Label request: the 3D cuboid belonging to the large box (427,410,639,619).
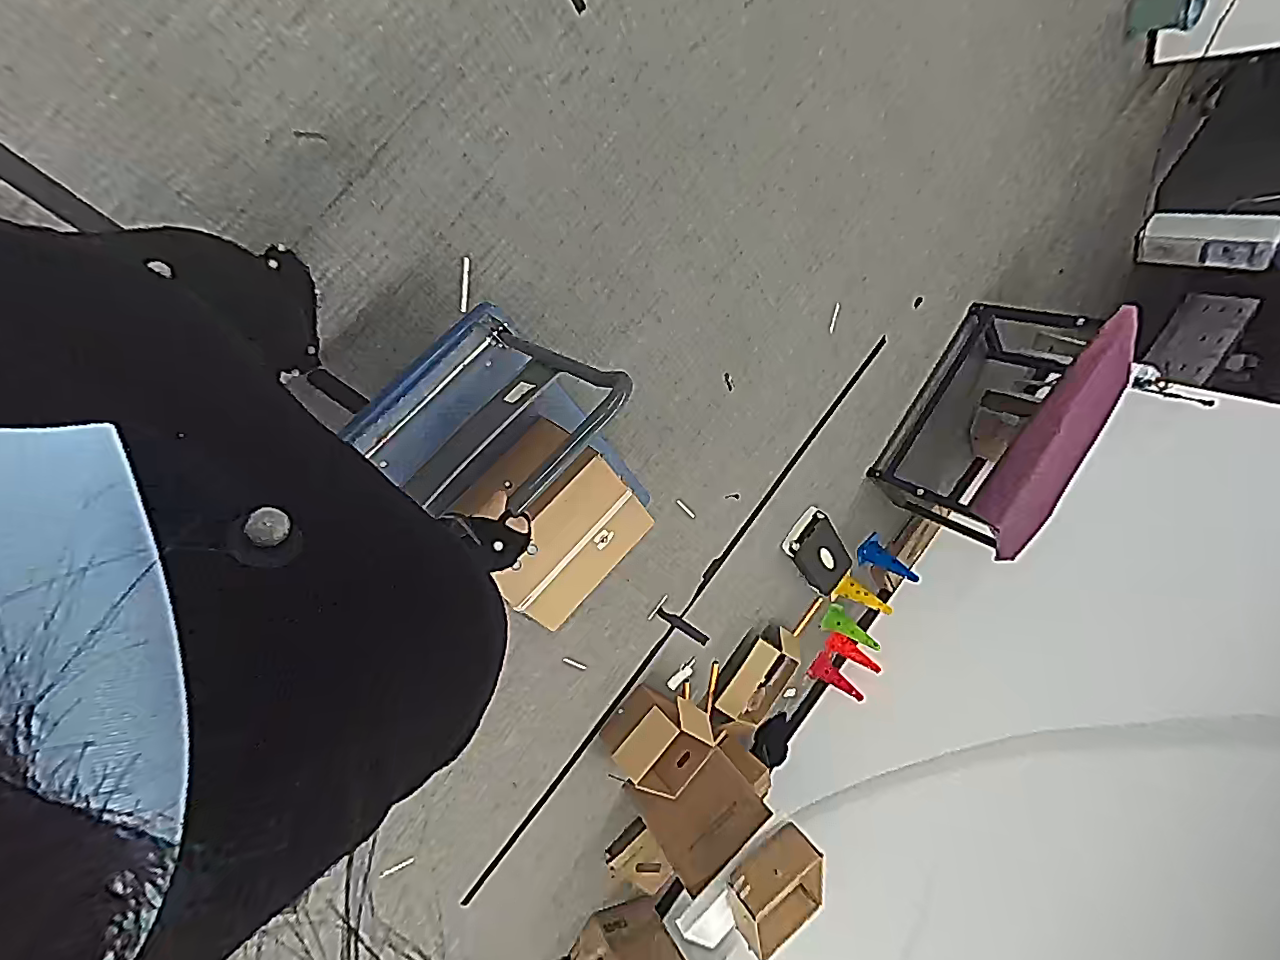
[{"bbox_3d":[-0.287,0.085,1.460,0.408,0.320,0.320,-48,134,-11],"label":"large box"}]
